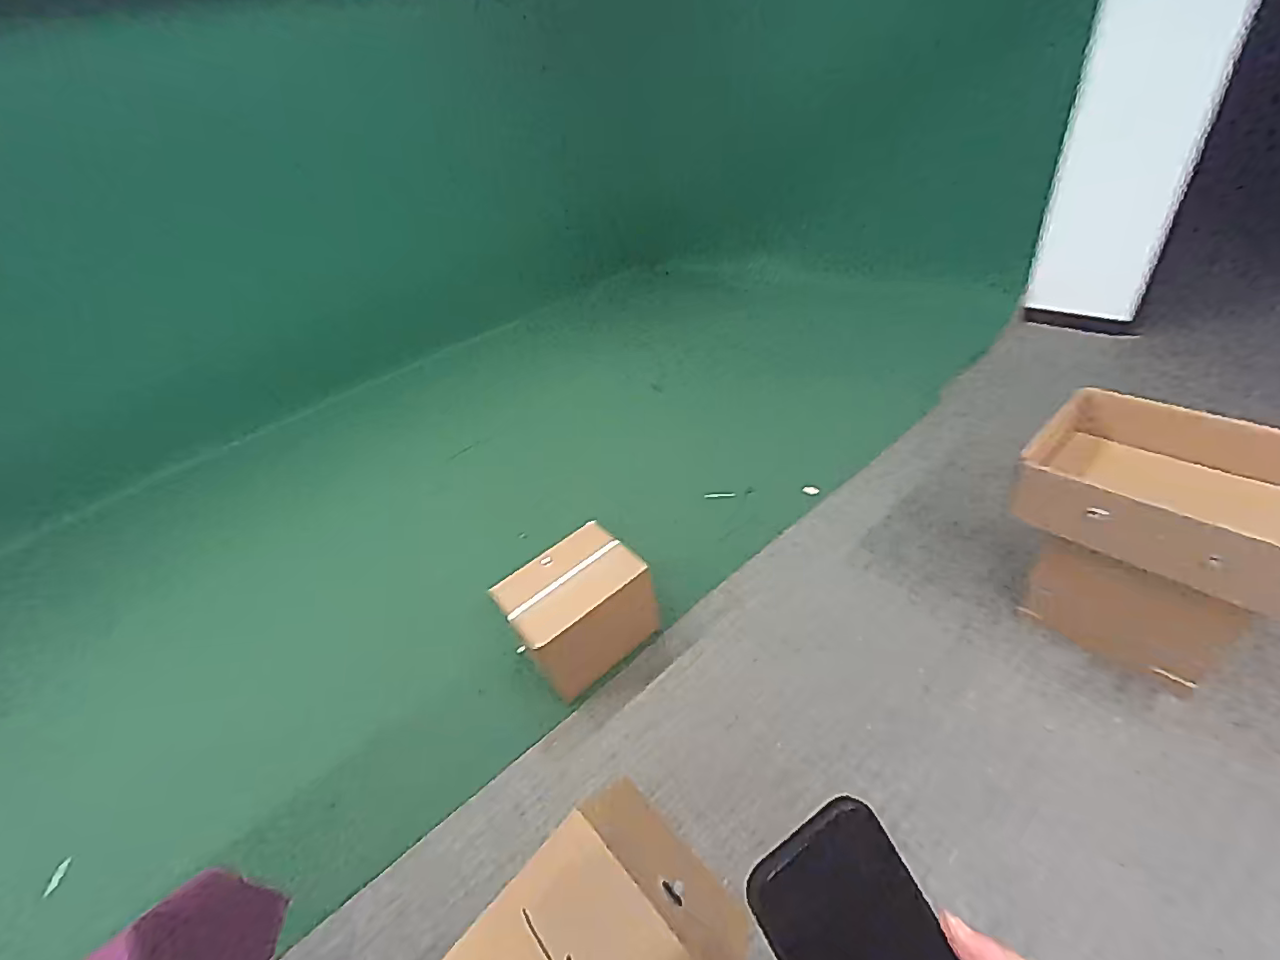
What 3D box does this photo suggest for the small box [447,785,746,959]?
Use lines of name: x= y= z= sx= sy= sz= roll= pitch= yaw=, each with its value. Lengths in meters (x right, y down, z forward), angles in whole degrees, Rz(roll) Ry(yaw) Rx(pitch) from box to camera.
small box: x=-0.023 y=0.406 z=0.477 sx=0.179 sy=0.176 sz=0.168 roll=40 pitch=83 yaw=25
